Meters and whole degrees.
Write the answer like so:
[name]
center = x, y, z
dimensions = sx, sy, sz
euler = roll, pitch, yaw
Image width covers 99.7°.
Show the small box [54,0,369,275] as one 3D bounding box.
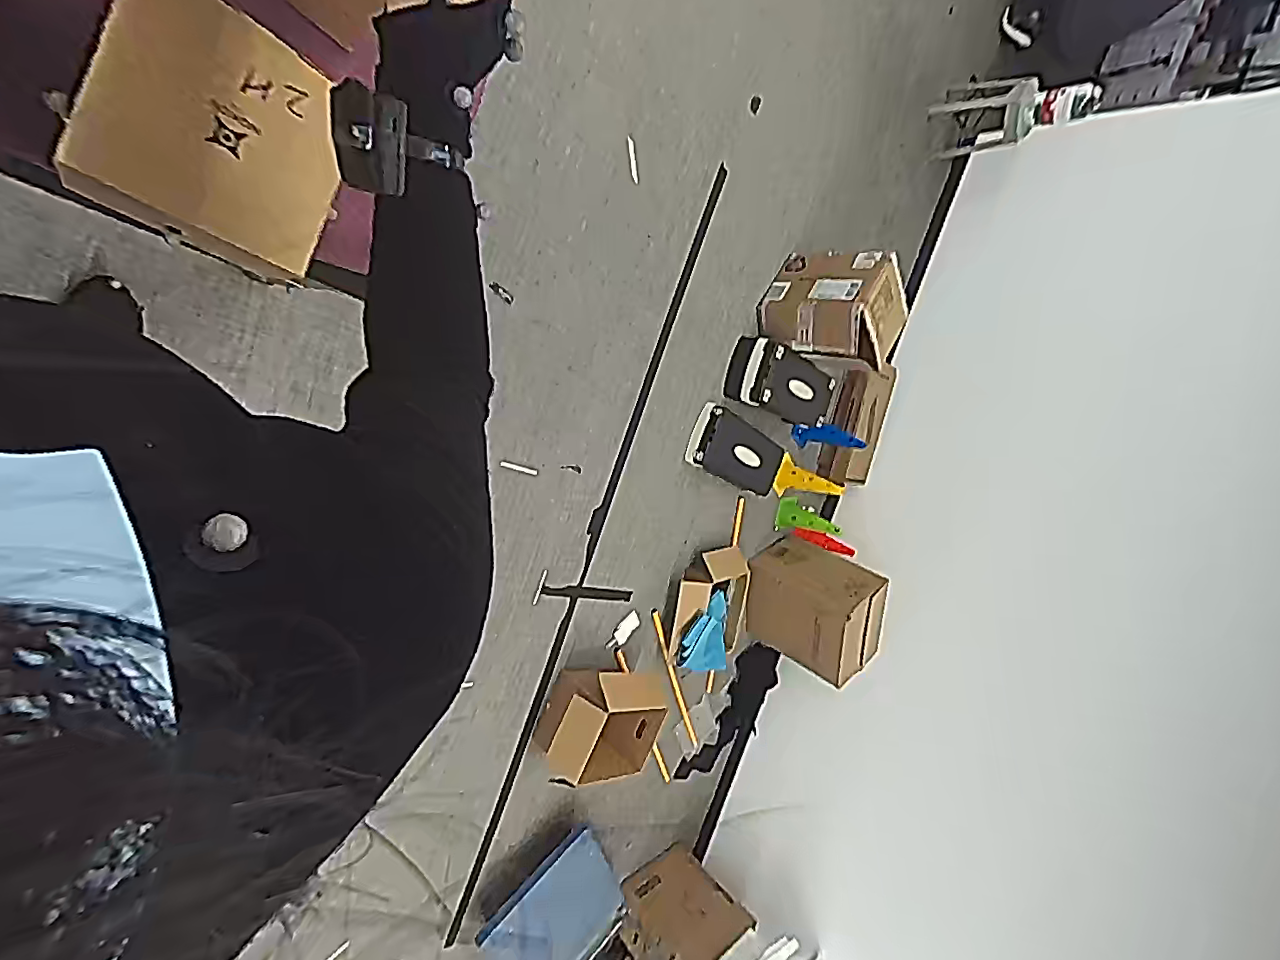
[small box]
center = -0.388, -0.310, 0.498
dimensions = 0.168, 0.176, 0.179
euler = 22, 88, -48
